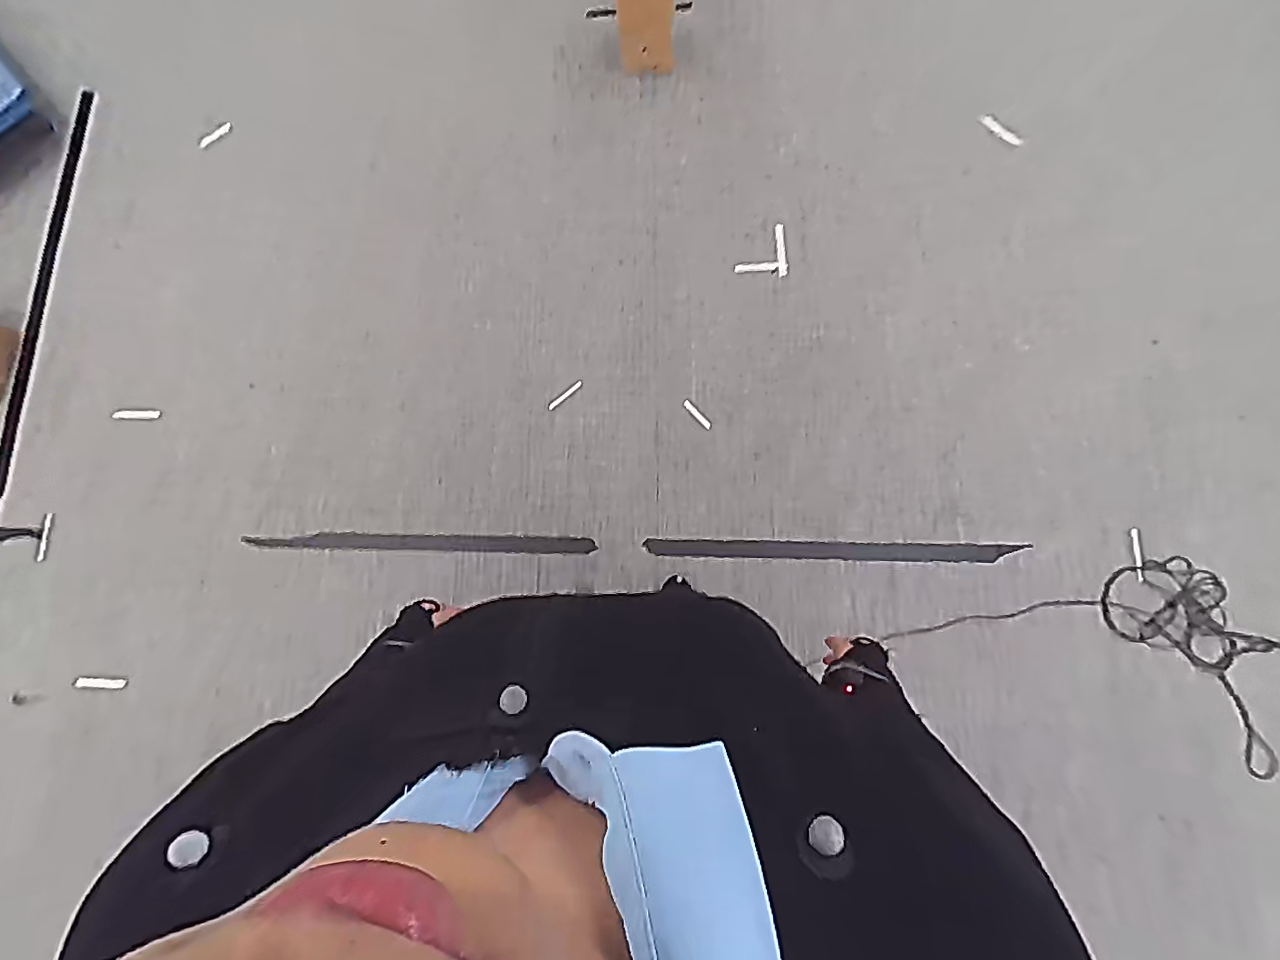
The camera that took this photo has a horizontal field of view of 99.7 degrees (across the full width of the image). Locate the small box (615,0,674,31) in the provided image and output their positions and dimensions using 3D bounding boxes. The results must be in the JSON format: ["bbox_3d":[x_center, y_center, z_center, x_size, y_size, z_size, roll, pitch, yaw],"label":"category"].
[{"bbox_3d":[0.008,-1.472,1.585,0.179,0.176,0.168,-6,79,4],"label":"small box"}]

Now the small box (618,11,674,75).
[{"bbox_3d":[0.024,-1.451,1.746,0.168,0.176,0.179,2,79,4],"label":"small box"}]
